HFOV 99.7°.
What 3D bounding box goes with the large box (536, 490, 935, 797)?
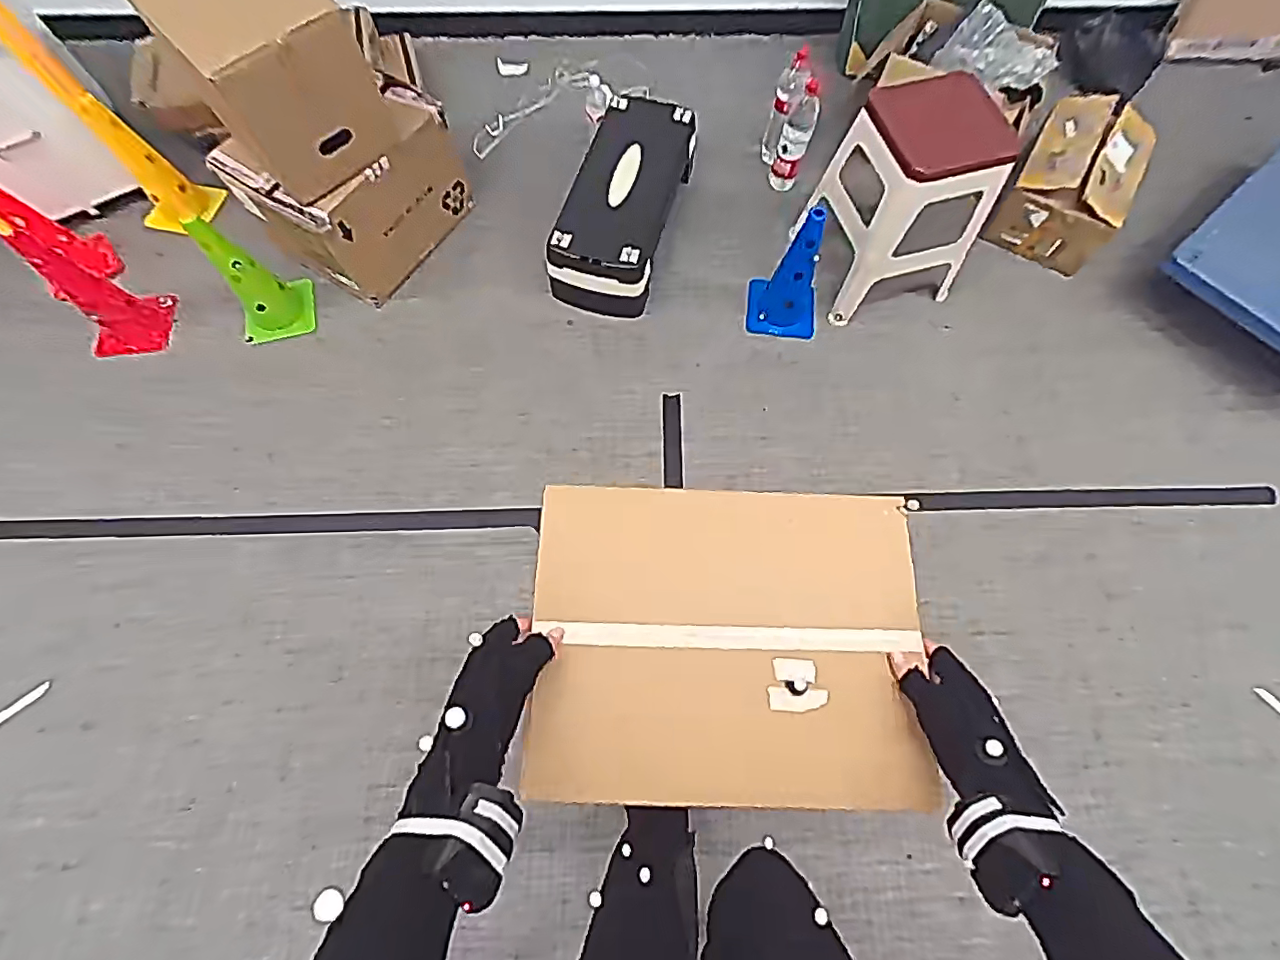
[{"bbox_3d":[0.090,0.207,0.714,0.408,0.320,0.320,2,73,-2],"label":"large box"}]
